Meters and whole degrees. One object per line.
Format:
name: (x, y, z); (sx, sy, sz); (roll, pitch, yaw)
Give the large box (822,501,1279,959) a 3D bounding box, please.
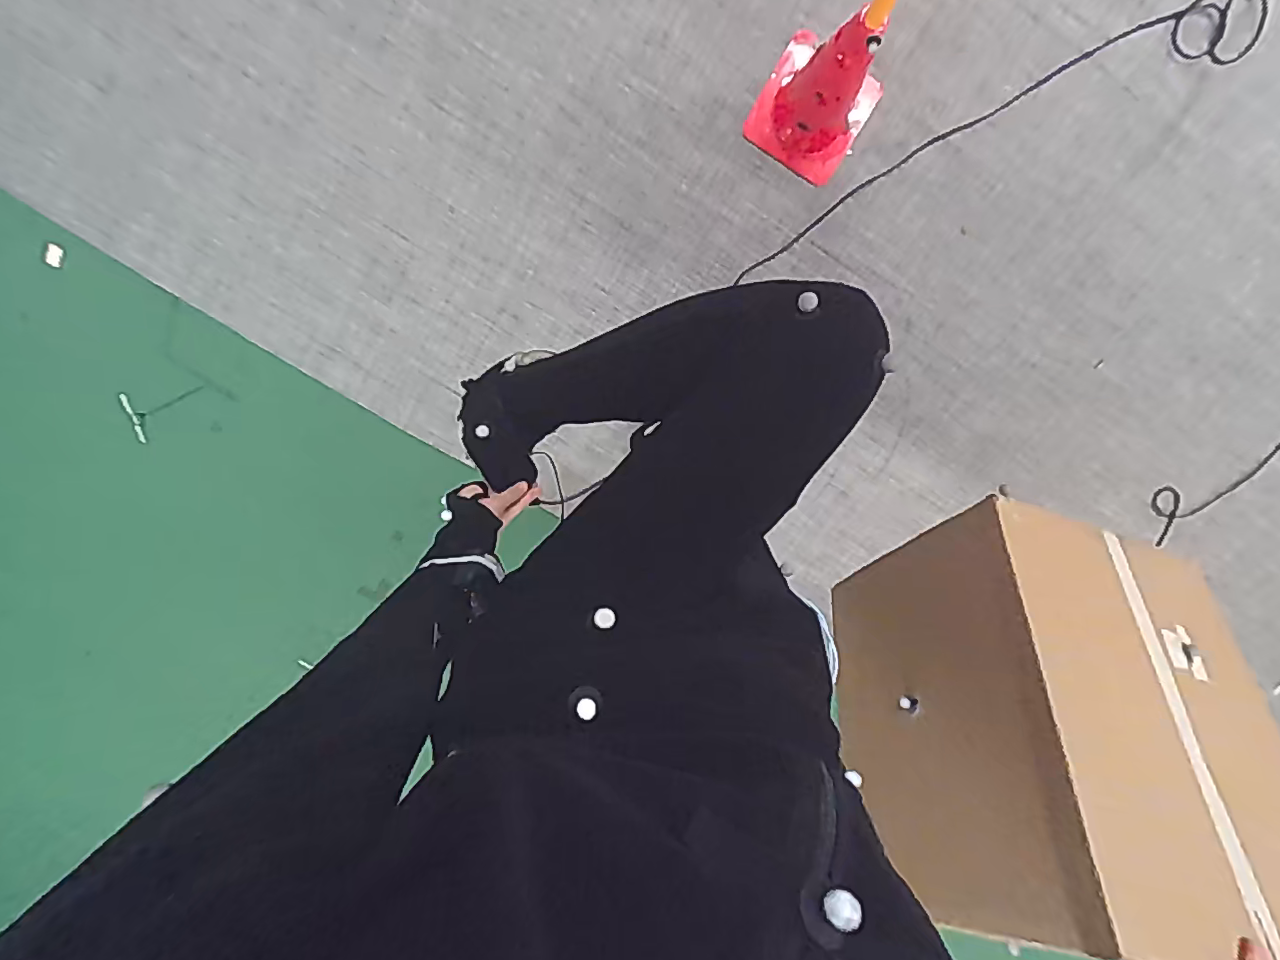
large box: (0.450, 0.302, 0.660); (0.320, 0.408, 0.320); (18, 145, -12)
